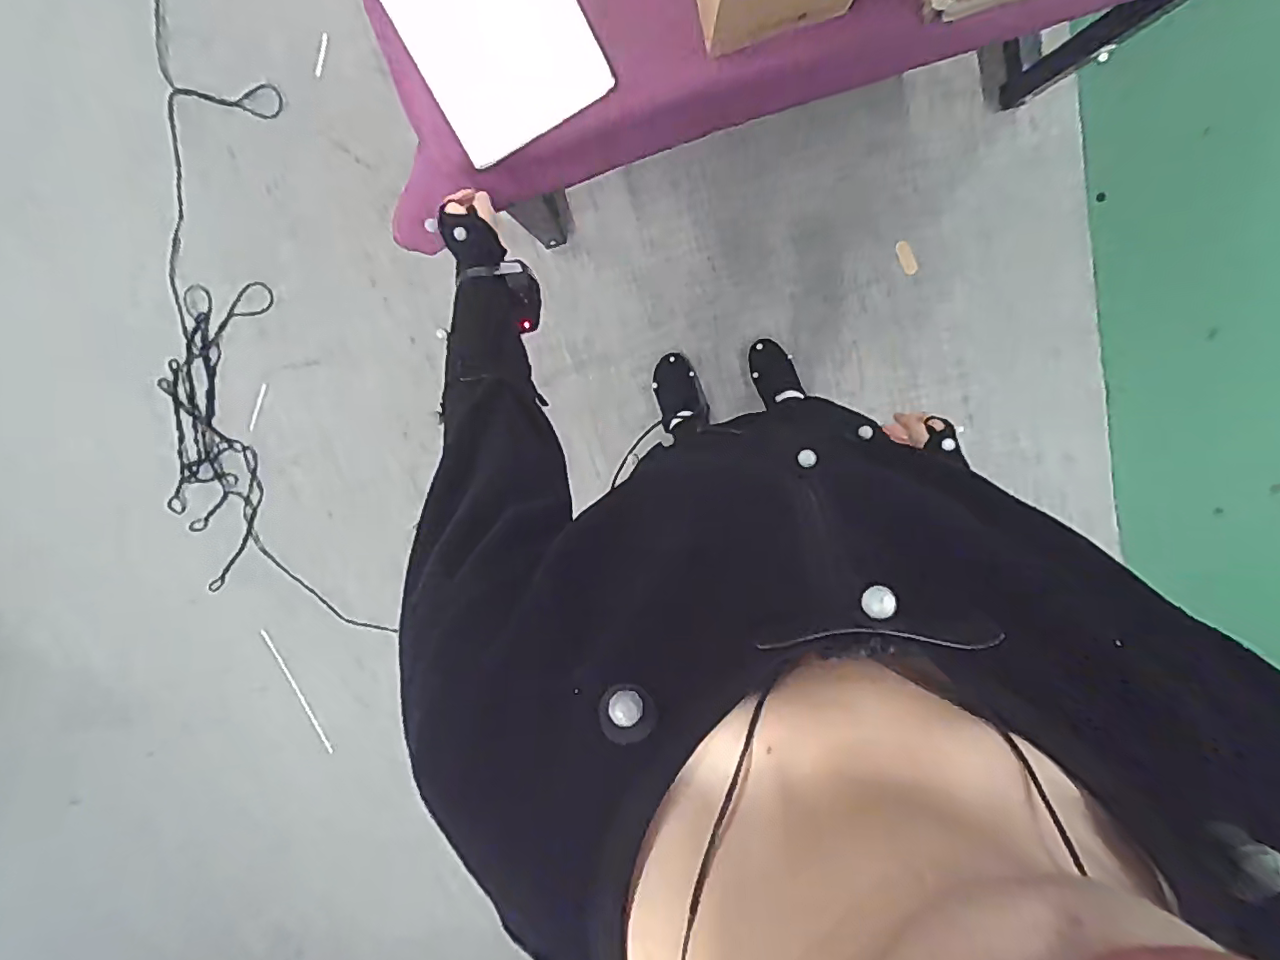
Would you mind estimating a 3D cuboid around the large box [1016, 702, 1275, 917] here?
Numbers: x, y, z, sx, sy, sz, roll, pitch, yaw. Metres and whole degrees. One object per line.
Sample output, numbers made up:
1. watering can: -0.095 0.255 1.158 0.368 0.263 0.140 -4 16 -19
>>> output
1. large box: 1.421 0.930 1.559 0.408 0.320 0.320 -30 102 7
